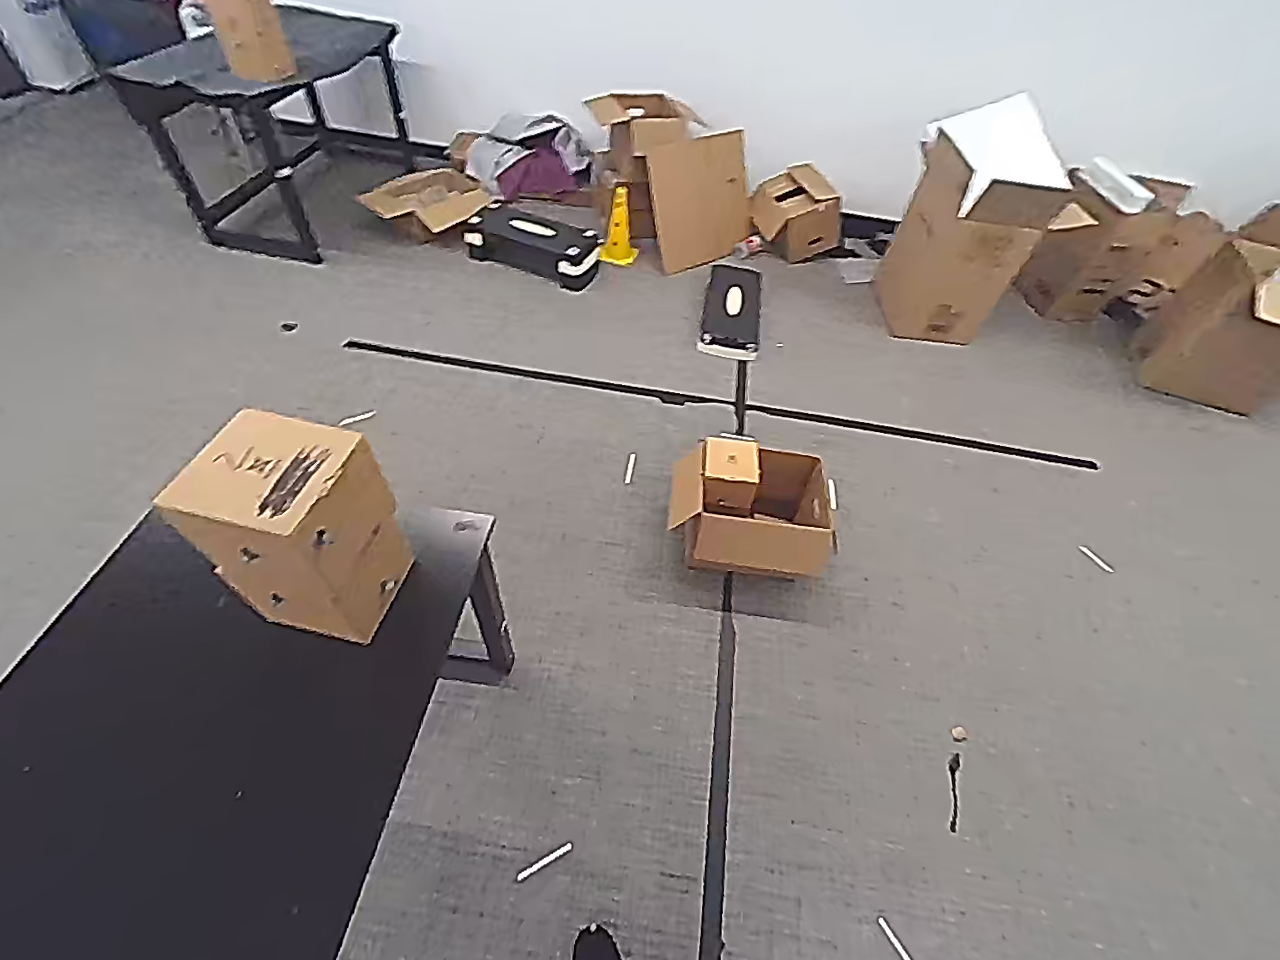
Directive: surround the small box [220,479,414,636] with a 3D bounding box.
[{"bbox_3d":[-0.491,0.127,0.855,0.179,0.176,0.168,13,53,4],"label":"small box"}]
